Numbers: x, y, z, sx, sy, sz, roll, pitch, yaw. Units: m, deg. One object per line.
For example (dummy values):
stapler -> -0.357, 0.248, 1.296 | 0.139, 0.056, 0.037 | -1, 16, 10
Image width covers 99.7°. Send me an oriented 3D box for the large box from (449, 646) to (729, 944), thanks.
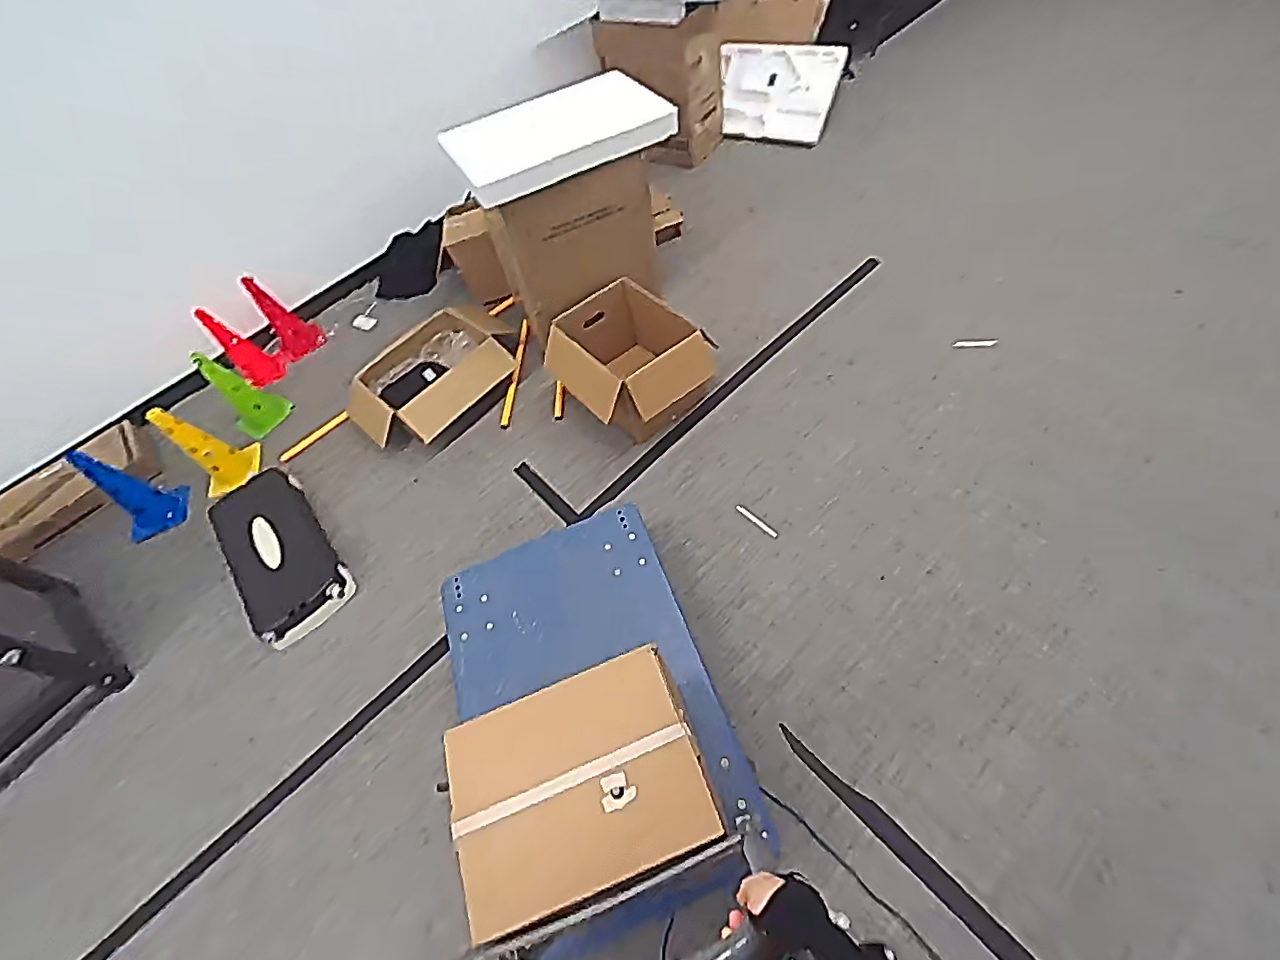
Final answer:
large box -> -0.082, 0.575, 1.013 | 0.408, 0.320, 0.320 | -23, 56, -4
